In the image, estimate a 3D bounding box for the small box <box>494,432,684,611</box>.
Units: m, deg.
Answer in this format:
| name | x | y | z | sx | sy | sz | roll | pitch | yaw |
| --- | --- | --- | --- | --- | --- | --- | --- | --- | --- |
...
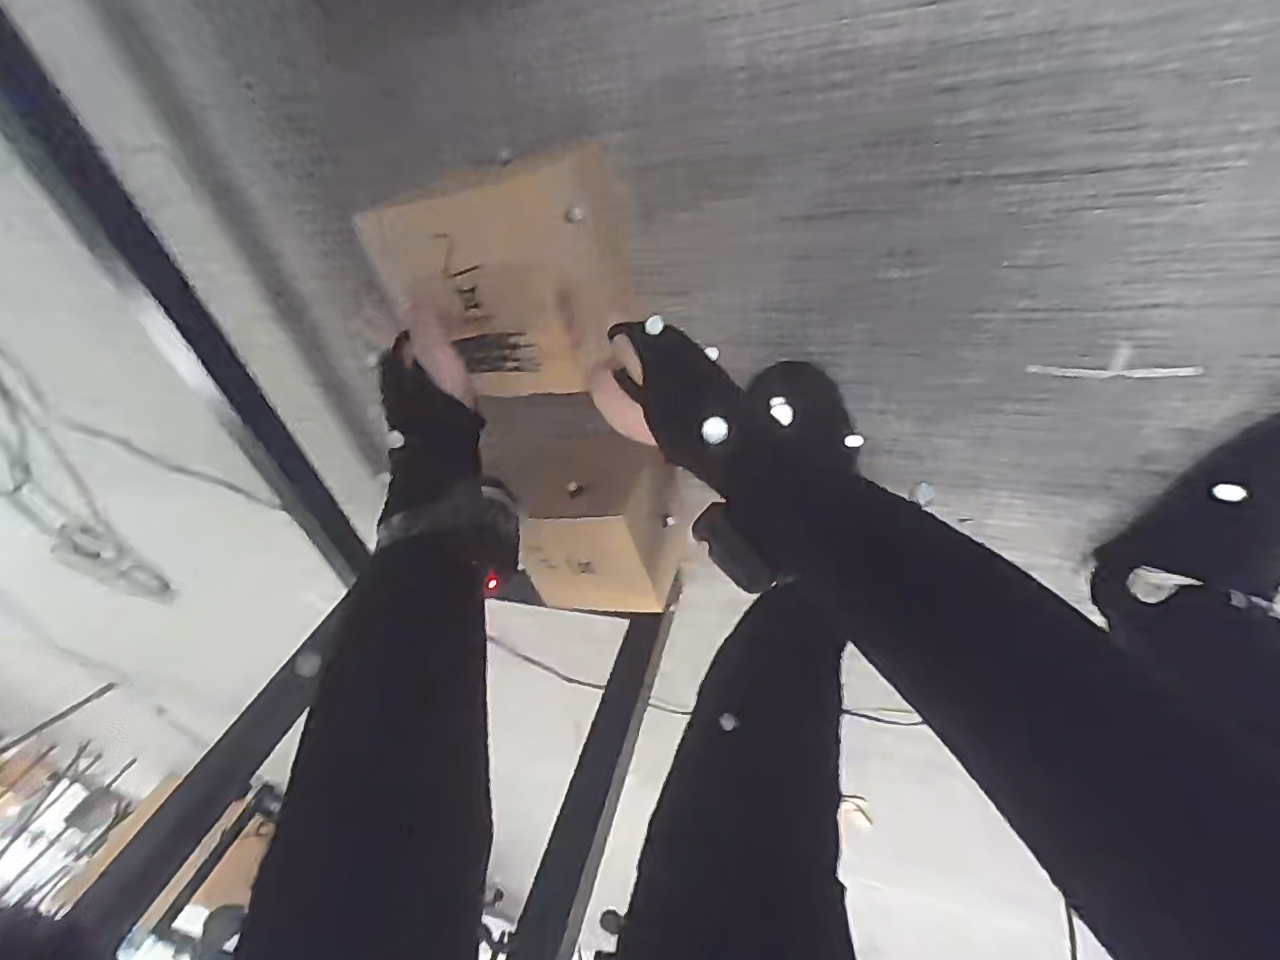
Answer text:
| name | x | y | z | sx | sy | sz | roll | pitch | yaw |
| --- | --- | --- | --- | --- | --- | --- | --- | --- | --- |
| small box | -0.050 | 0.051 | 0.706 | 0.179 | 0.176 | 0.168 | -3 | 127 | 24 |
